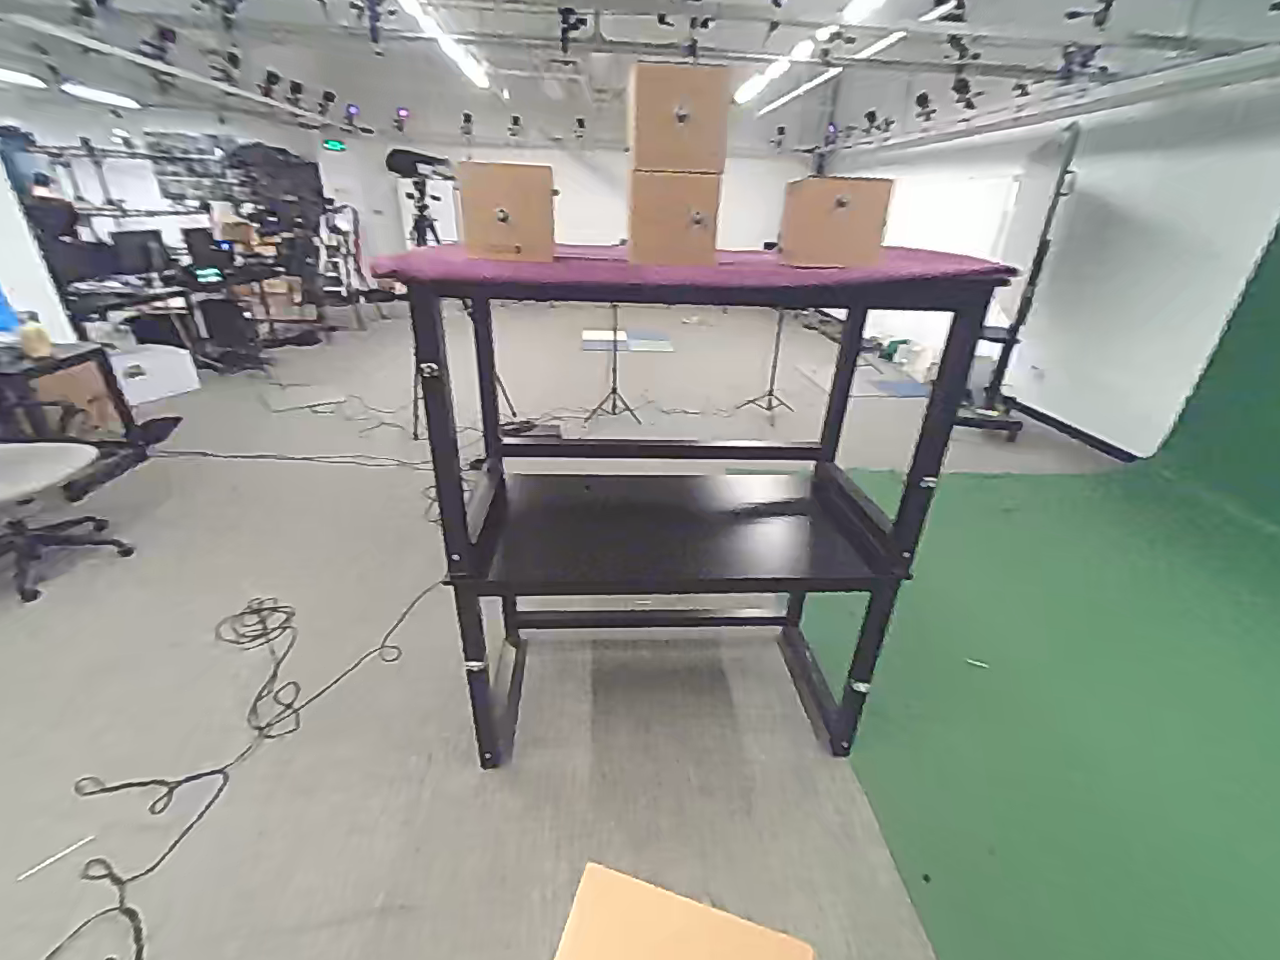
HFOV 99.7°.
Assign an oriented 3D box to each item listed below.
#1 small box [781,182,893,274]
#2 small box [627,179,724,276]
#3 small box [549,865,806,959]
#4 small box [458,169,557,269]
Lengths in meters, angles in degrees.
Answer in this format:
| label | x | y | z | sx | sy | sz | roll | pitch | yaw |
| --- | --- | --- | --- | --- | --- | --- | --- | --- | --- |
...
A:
| label | x | y | z | sx | sy | sz | roll | pitch | yaw |
| --- | --- | --- | --- | --- | --- | --- | --- | --- | --- |
| small box | 0.411 | -0.535 | 1.163 | 0.179 | 0.176 | 0.168 | 0 | 24 | -3 |
| small box | 0.064 | -0.522 | 1.120 | 0.179 | 0.176 | 0.168 | -1 | 26 | -5 |
| small box | 0.012 | 0.426 | 0.387 | 0.179 | 0.176 | 0.168 | 10 | 36 | 13 |
| small box | -0.256 | -0.522 | 1.088 | 0.168 | 0.176 | 0.179 | 1 | 27 | -5 |
